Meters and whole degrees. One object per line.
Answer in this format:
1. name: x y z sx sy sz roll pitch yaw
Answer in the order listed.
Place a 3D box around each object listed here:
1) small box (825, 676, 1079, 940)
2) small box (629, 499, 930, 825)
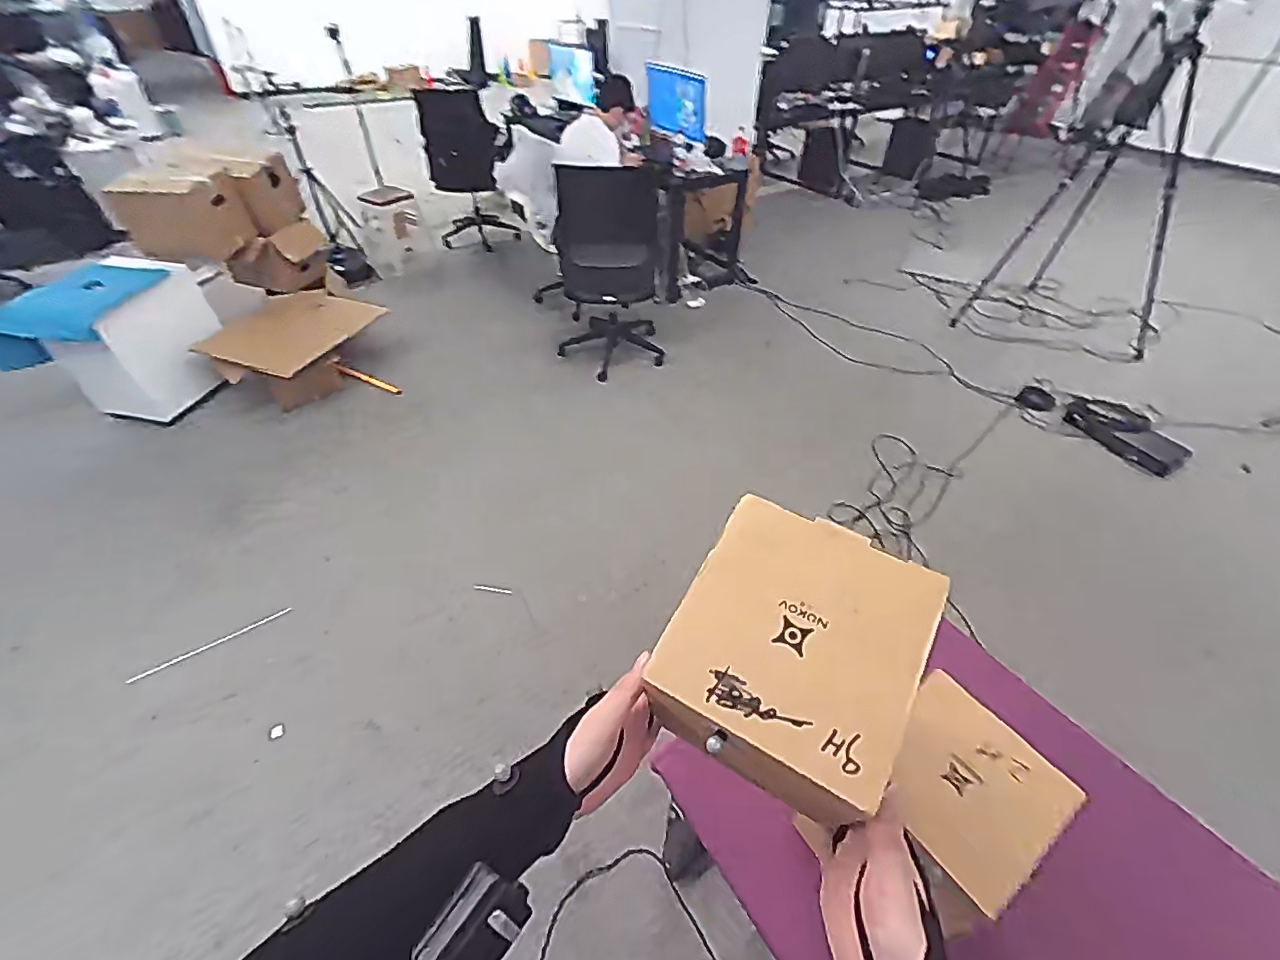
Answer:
1. small box: 0.323 0.366 0.605 0.179 0.176 0.168 -26 50 -24
2. small box: 0.109 0.153 0.453 0.168 0.176 0.179 24 61 22
